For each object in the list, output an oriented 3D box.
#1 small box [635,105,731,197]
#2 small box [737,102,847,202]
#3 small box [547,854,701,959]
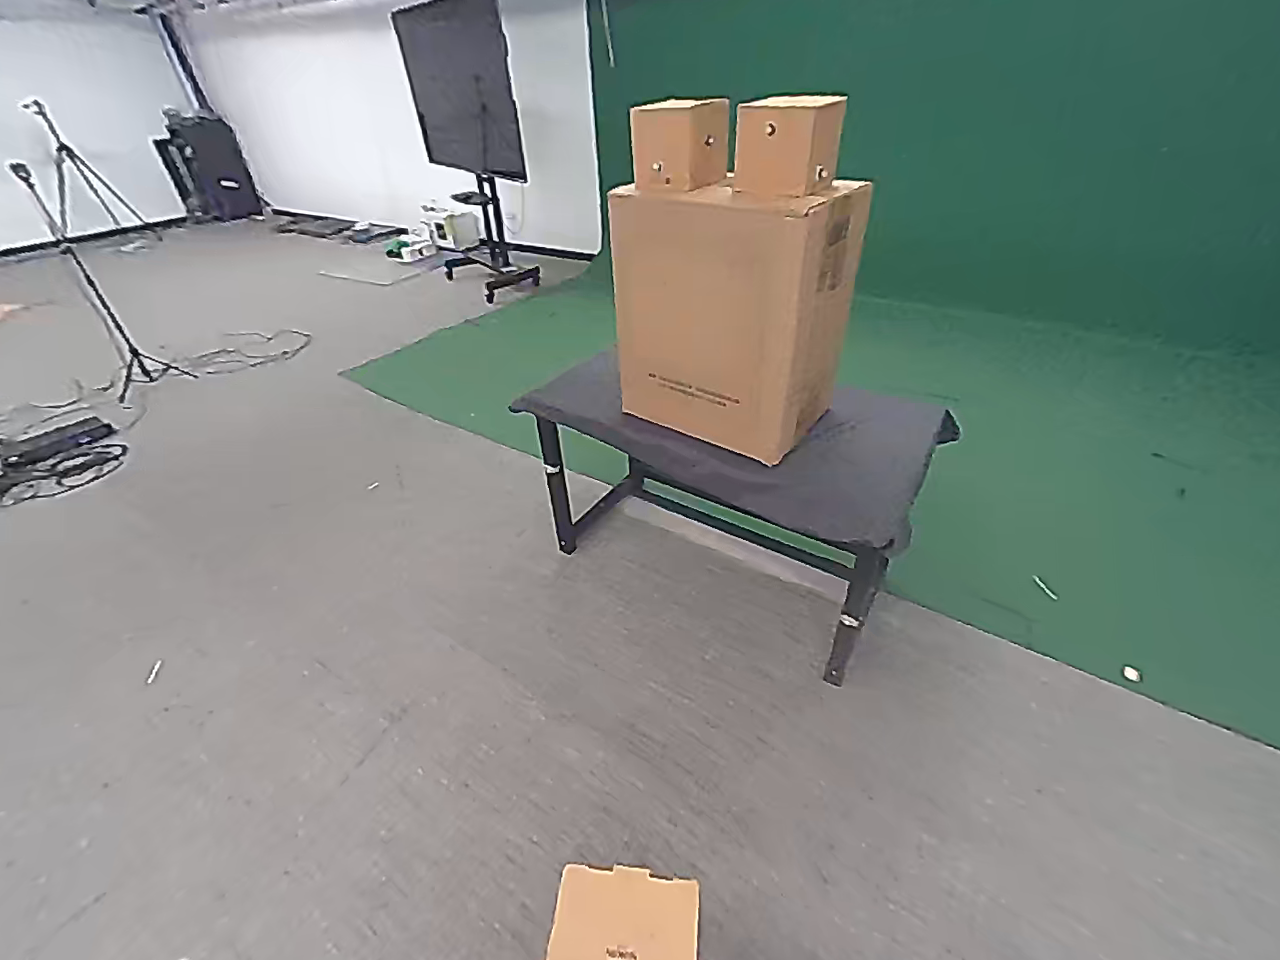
[{"bbox_3d":[0.105,-0.808,1.323,0.168,0.176,0.179,23,46,31],"label":"small box"},{"bbox_3d":[0.331,-0.732,1.206,0.179,0.176,0.168,25,48,28],"label":"small box"},{"bbox_3d":[-0.018,0.580,0.640,0.168,0.176,0.179,3,41,6],"label":"small box"}]
